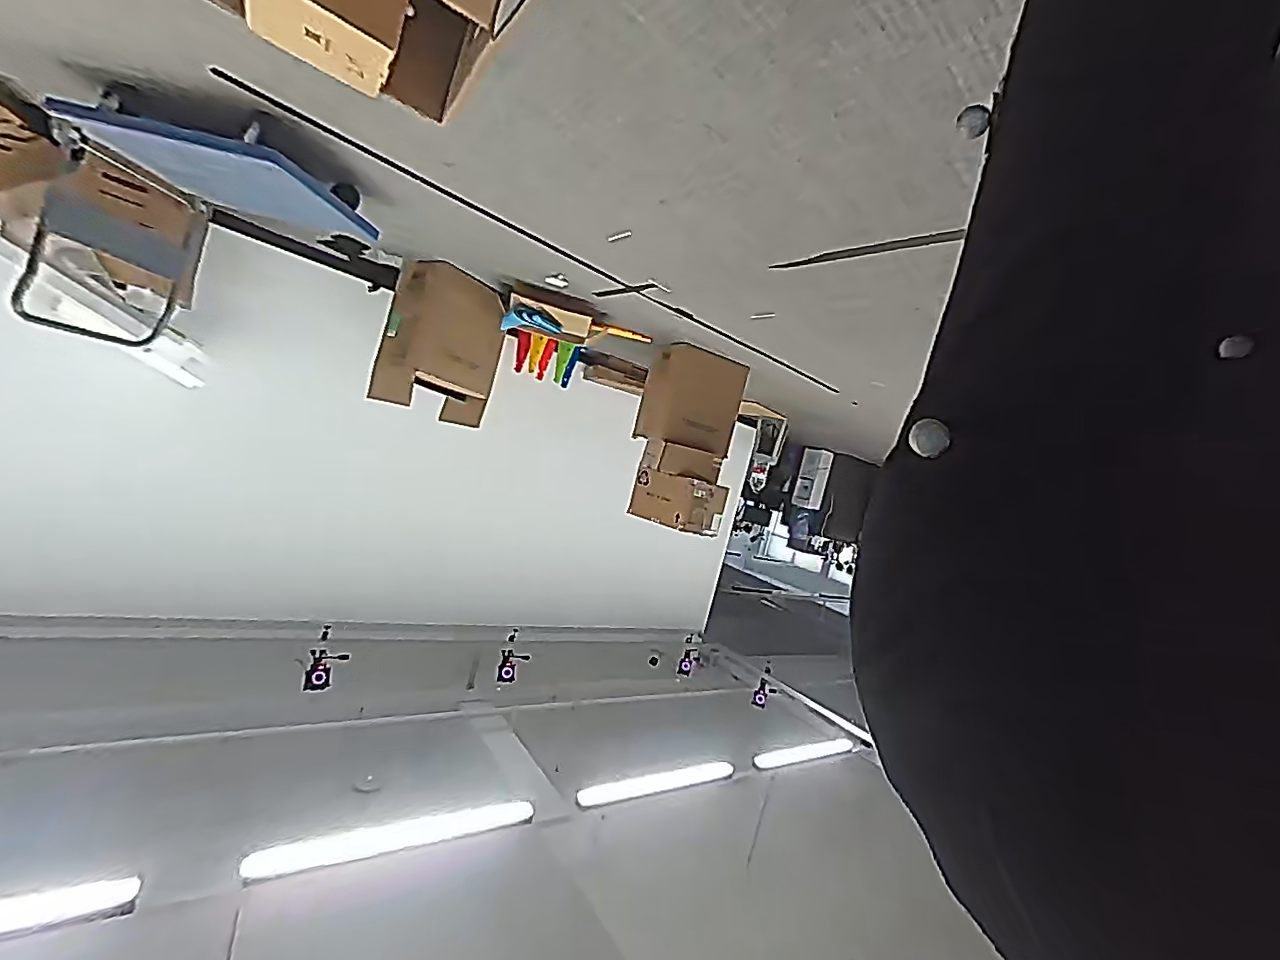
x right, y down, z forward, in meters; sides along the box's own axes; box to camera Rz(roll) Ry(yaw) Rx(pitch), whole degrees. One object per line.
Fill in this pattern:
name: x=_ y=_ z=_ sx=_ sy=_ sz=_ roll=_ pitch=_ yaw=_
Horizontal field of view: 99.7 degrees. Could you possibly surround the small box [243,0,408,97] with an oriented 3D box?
small box: x=-0.427 y=-0.696 z=0.750 sx=0.179 sy=0.176 sz=0.168 roll=13 pitch=-177 yaw=-36
